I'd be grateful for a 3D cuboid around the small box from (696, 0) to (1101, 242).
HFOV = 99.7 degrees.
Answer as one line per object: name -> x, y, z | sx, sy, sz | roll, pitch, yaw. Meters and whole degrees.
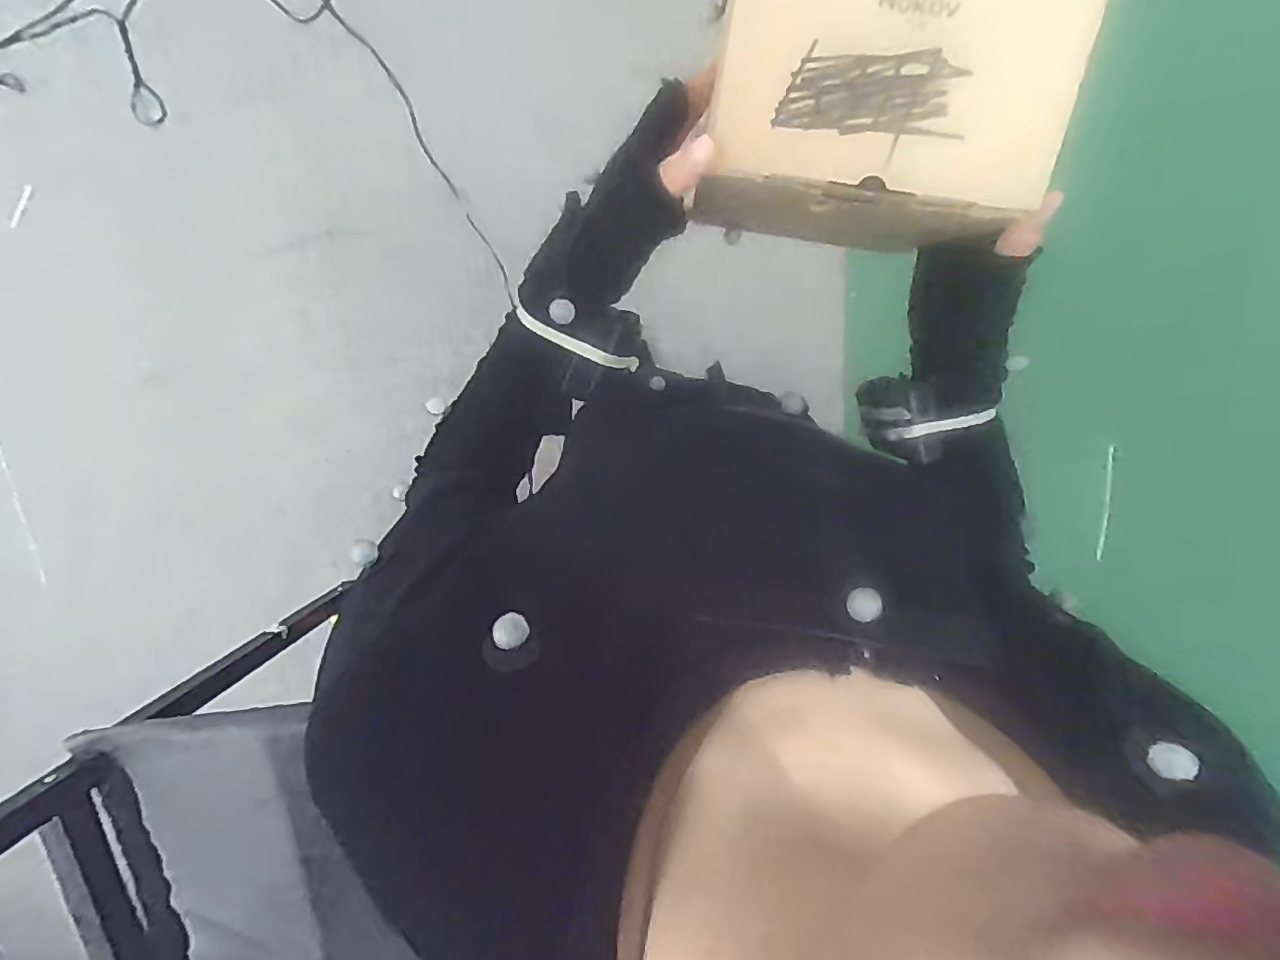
small box -> 0.127, -0.248, 0.315 | 0.168, 0.176, 0.179 | 8, 107, 0
